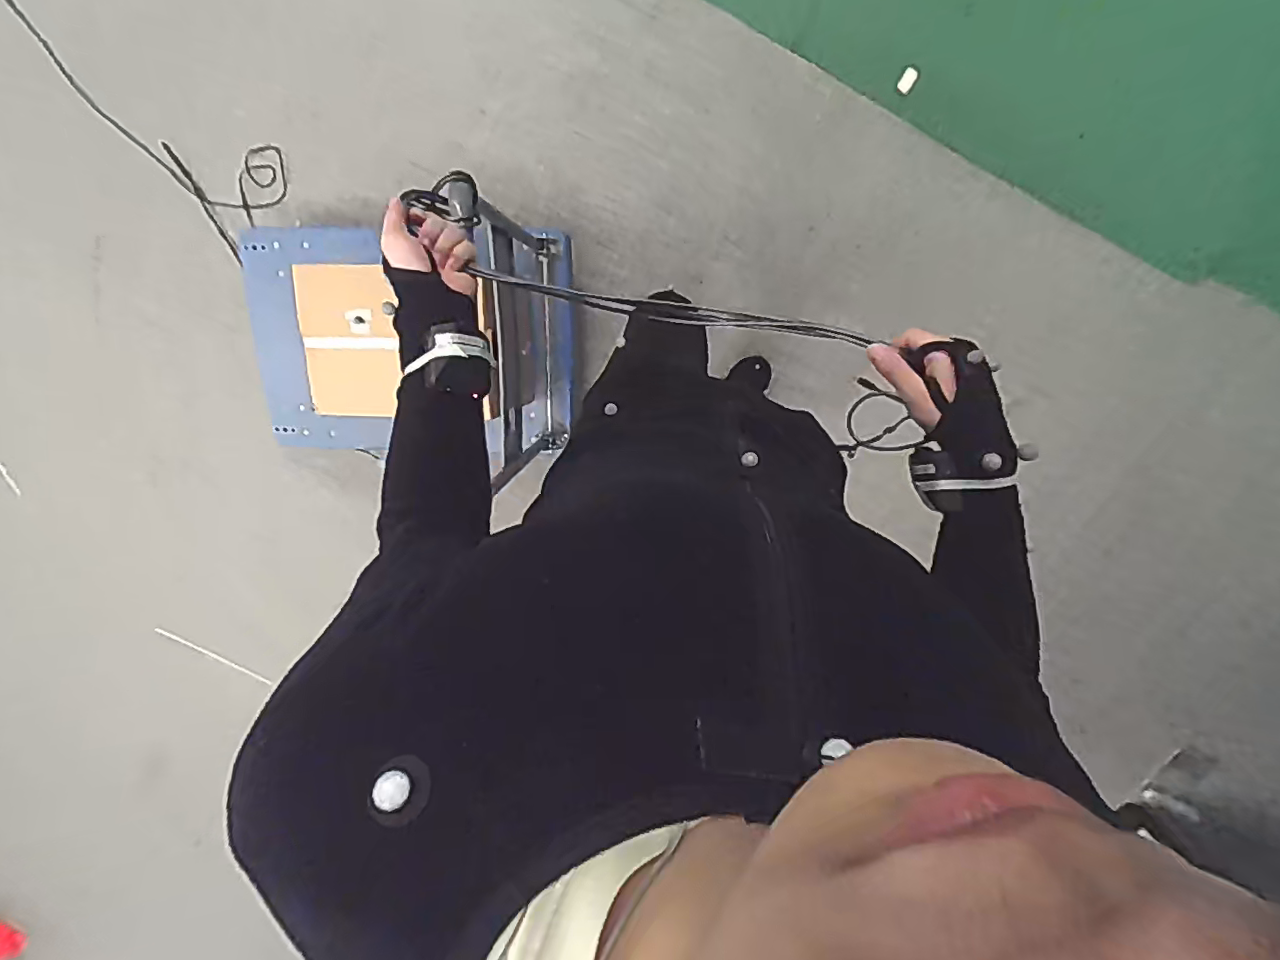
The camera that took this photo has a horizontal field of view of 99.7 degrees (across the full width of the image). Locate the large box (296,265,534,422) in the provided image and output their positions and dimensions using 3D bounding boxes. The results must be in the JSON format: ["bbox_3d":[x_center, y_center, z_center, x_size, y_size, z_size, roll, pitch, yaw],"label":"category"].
[{"bbox_3d":[-0.490,-0.319,1.264,0.408,0.320,0.320,3,105,6],"label":"large box"}]
